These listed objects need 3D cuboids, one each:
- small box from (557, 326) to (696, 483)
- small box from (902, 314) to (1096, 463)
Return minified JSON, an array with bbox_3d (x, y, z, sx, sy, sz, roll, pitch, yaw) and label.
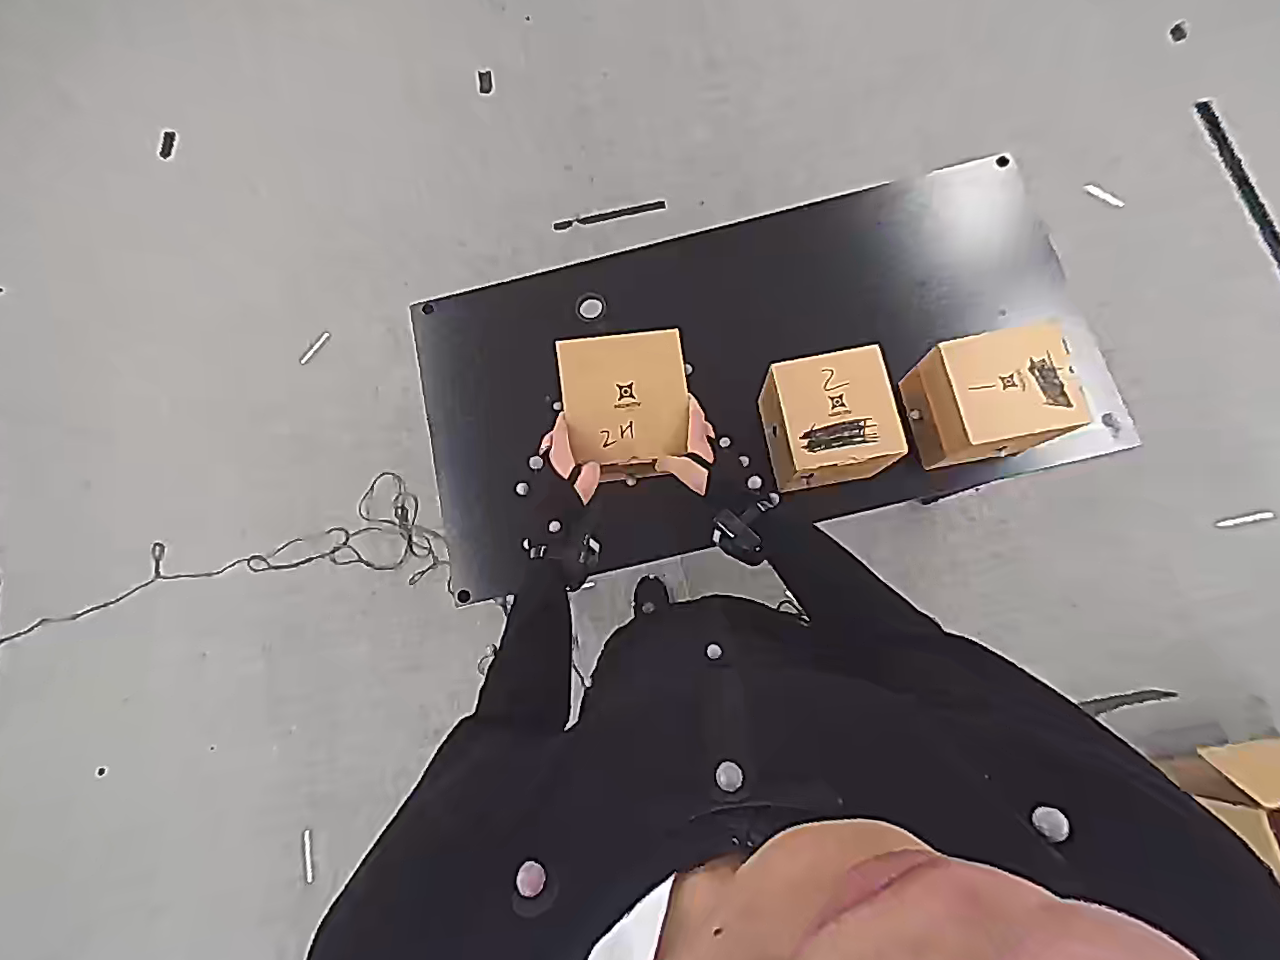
[{"bbox_3d":[-0.023,-0.099,0.776,0.168,0.176,0.179,-8,84,-4],"label":"small box"},{"bbox_3d":[0.551,-0.135,0.857,0.179,0.176,0.168,-12,78,4],"label":"small box"}]
